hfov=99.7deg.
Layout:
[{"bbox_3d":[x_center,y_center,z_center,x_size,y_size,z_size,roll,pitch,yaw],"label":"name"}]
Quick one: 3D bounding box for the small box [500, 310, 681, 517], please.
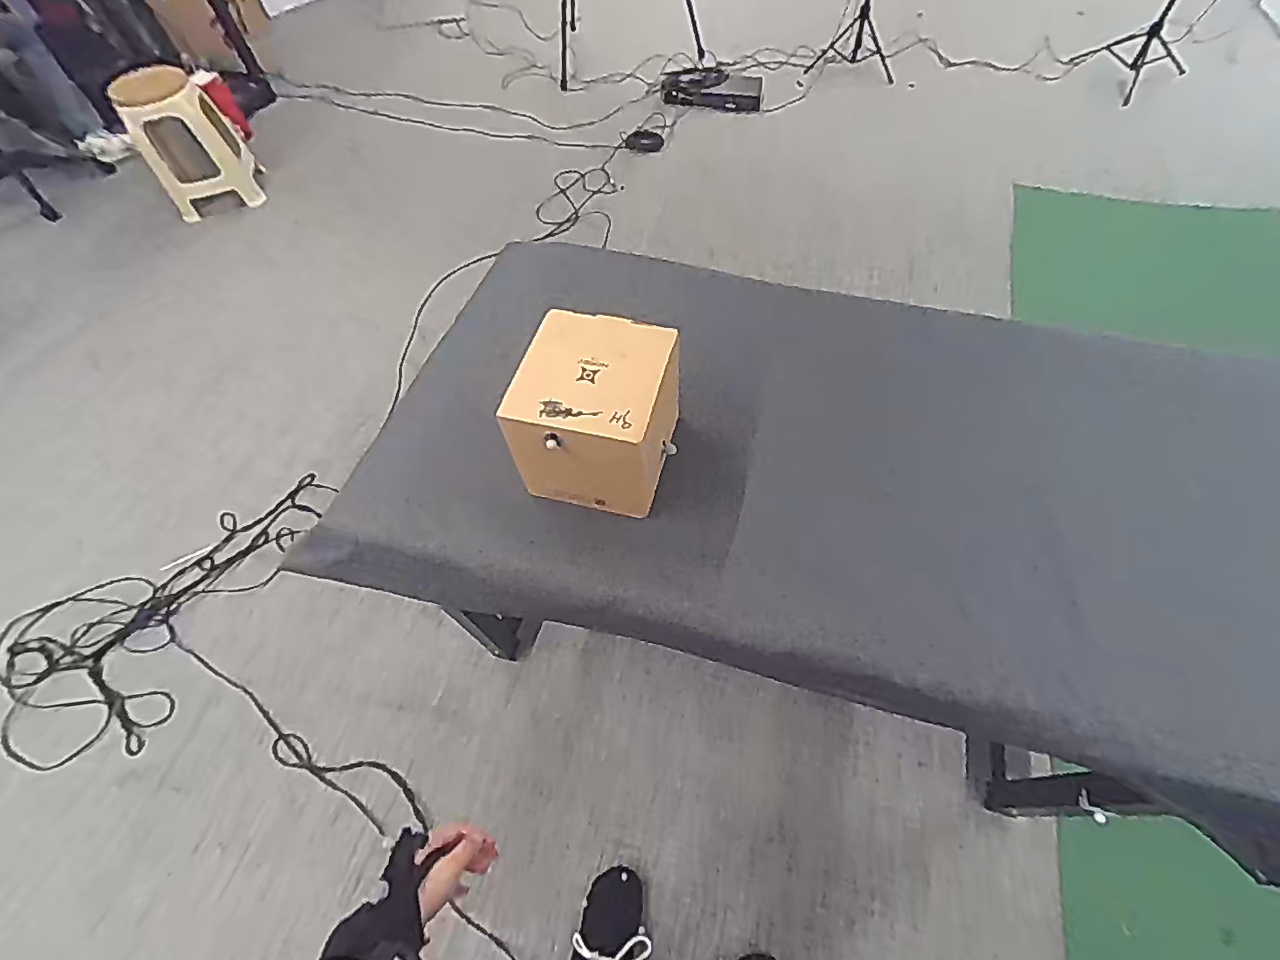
[{"bbox_3d":[-0.051,-0.080,0.679,0.168,0.176,0.179,12,59,10],"label":"small box"}]
